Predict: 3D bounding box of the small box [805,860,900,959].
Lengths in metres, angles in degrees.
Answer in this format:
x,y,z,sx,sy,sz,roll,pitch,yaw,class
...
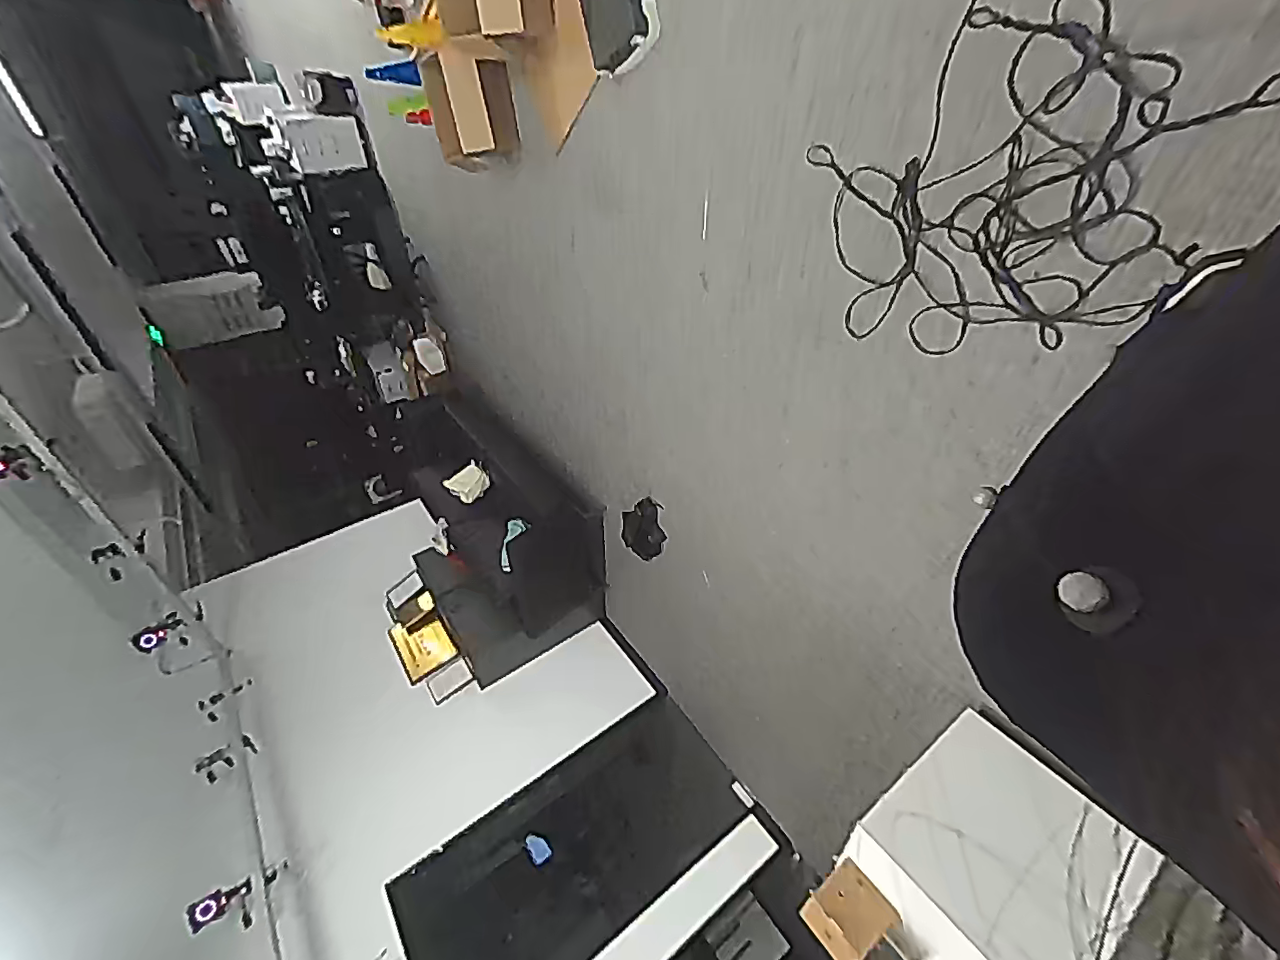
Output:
x,y,z,sx,sy,sz,roll,pitch,yaw,class
0.593,1.211,1.509,0.168,0.176,0.179,41,145,39,small box
